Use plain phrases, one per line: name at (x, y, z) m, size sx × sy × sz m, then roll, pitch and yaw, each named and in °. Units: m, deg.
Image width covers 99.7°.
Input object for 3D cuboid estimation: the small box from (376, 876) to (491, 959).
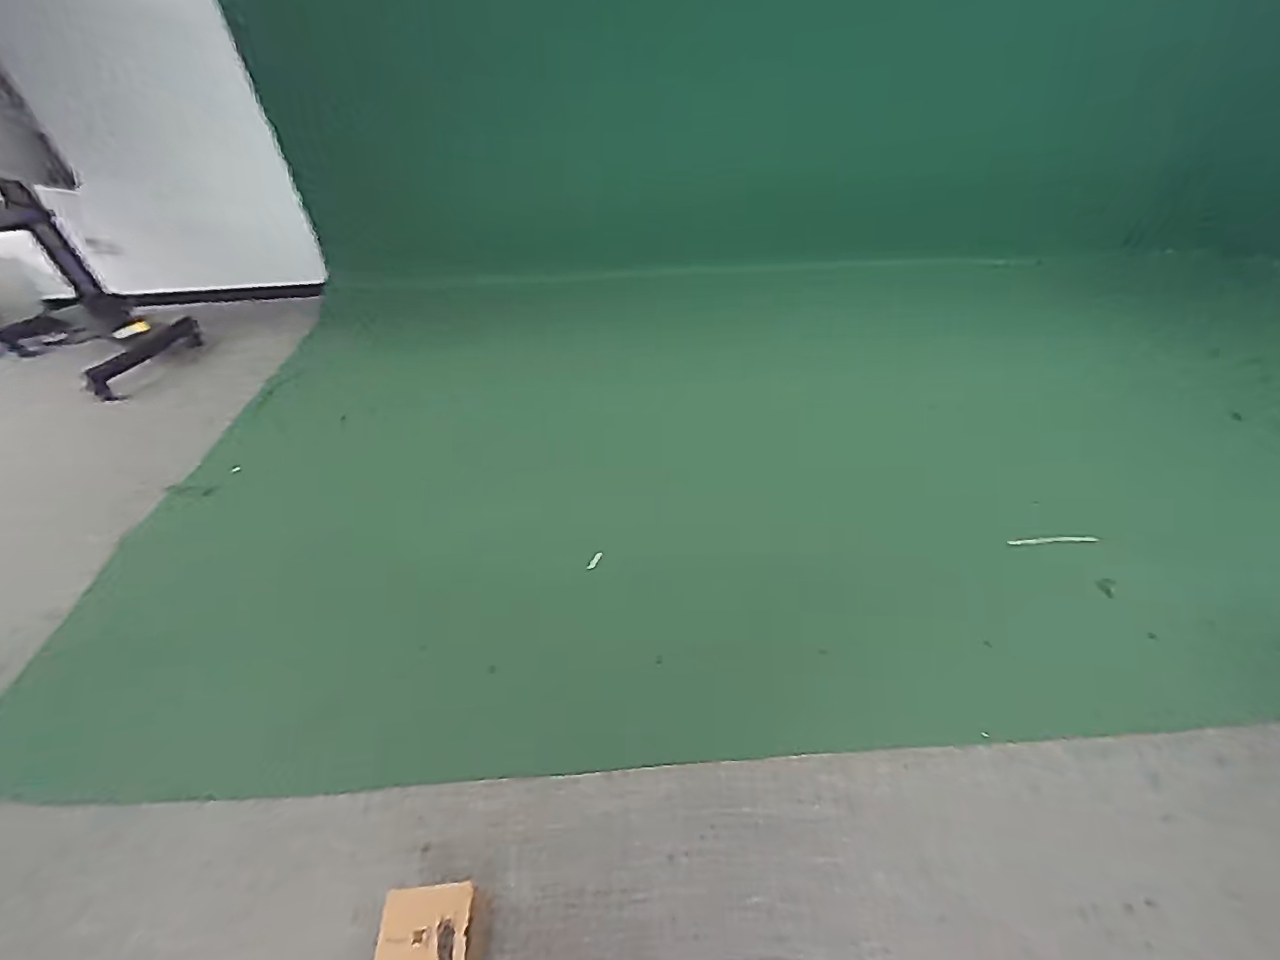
small box at (-0.411, 0.928, 1.100) m, size 0.179 × 0.176 × 0.168 m, roll -5°, pitch 43°, yaw -2°
